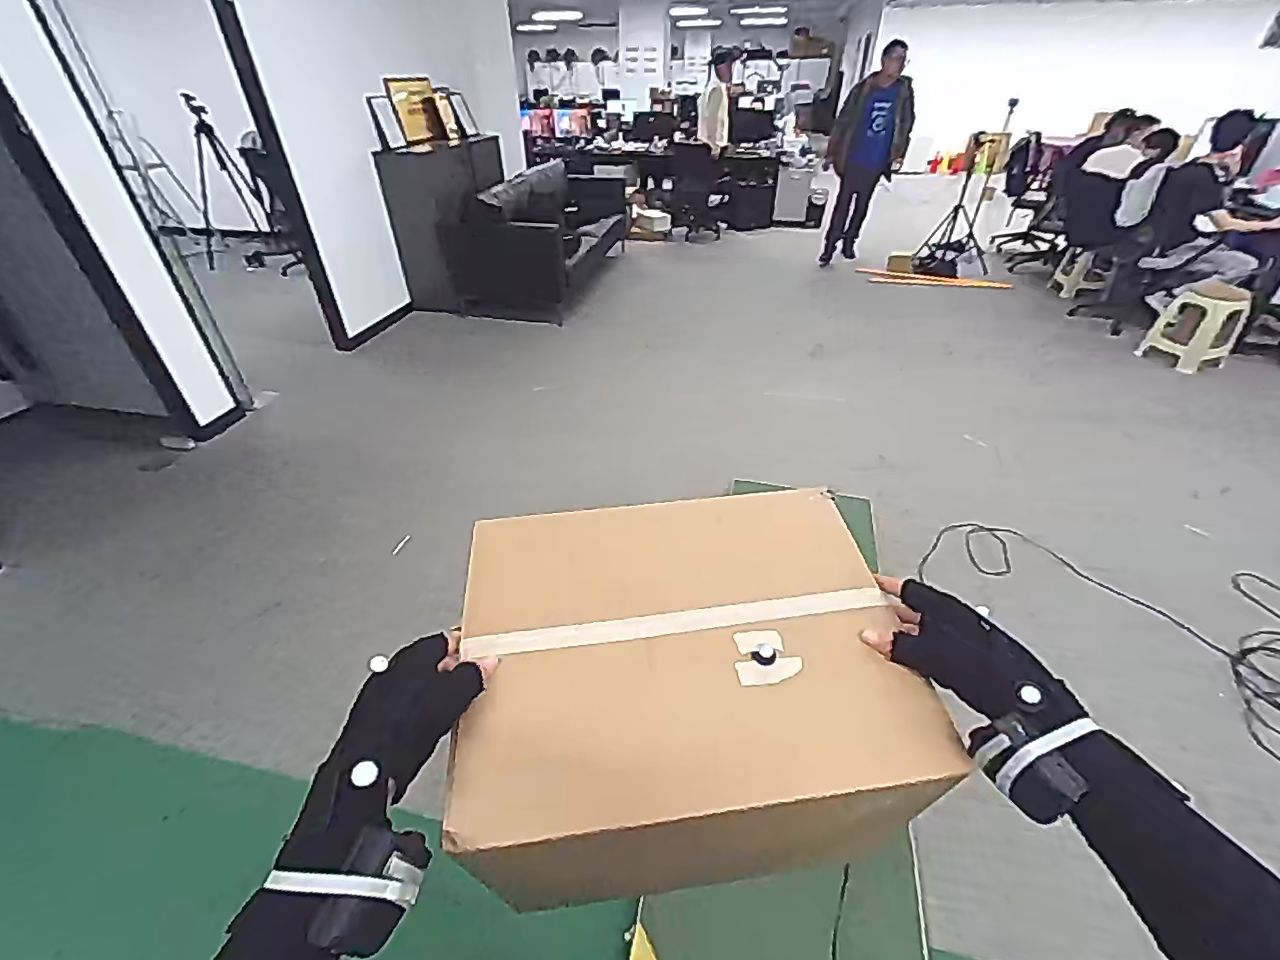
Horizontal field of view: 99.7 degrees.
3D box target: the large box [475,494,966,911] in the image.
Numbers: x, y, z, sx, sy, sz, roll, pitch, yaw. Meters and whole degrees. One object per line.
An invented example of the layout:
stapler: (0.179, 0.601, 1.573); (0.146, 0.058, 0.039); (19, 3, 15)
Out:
large box: (0.048, 0.249, 0.624); (0.408, 0.320, 0.320); (-5, 45, -6)
